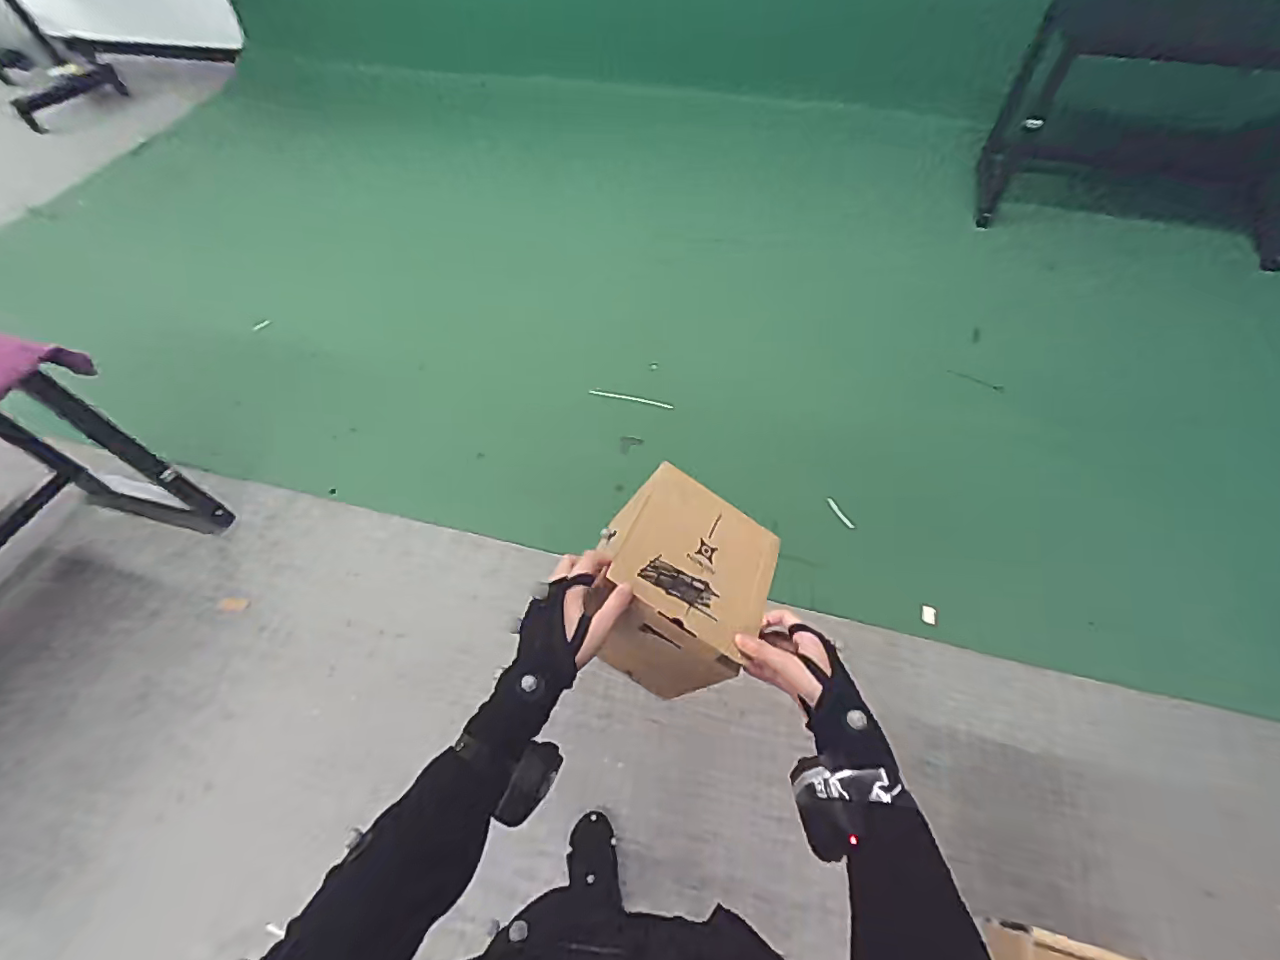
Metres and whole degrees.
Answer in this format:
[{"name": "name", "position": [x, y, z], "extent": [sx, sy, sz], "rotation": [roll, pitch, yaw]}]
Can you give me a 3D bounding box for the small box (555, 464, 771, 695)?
[{"name": "small box", "position": [0.019, 0.122, 0.620], "extent": [0.168, 0.176, 0.179], "rotation": [32, 52, -6]}]
